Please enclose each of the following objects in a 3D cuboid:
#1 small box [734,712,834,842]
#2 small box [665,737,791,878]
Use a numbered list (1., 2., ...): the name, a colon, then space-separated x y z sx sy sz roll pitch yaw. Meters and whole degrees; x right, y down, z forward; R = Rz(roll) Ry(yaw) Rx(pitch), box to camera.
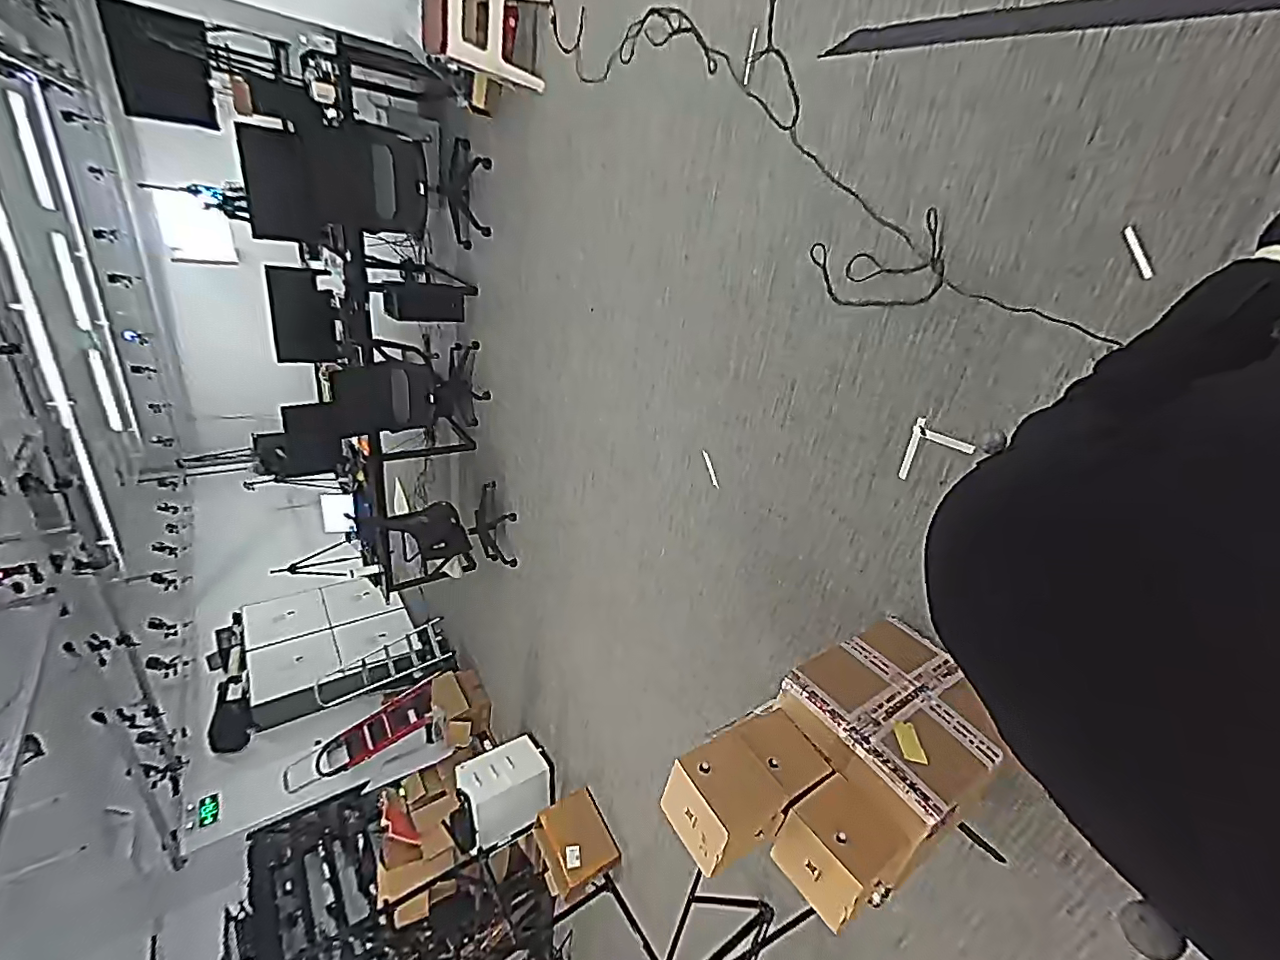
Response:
1. small box: 0.312 0.675 1.247 0.179 0.176 0.168 46 132 42
2. small box: 0.183 0.676 1.142 0.179 0.176 0.168 42 130 44
